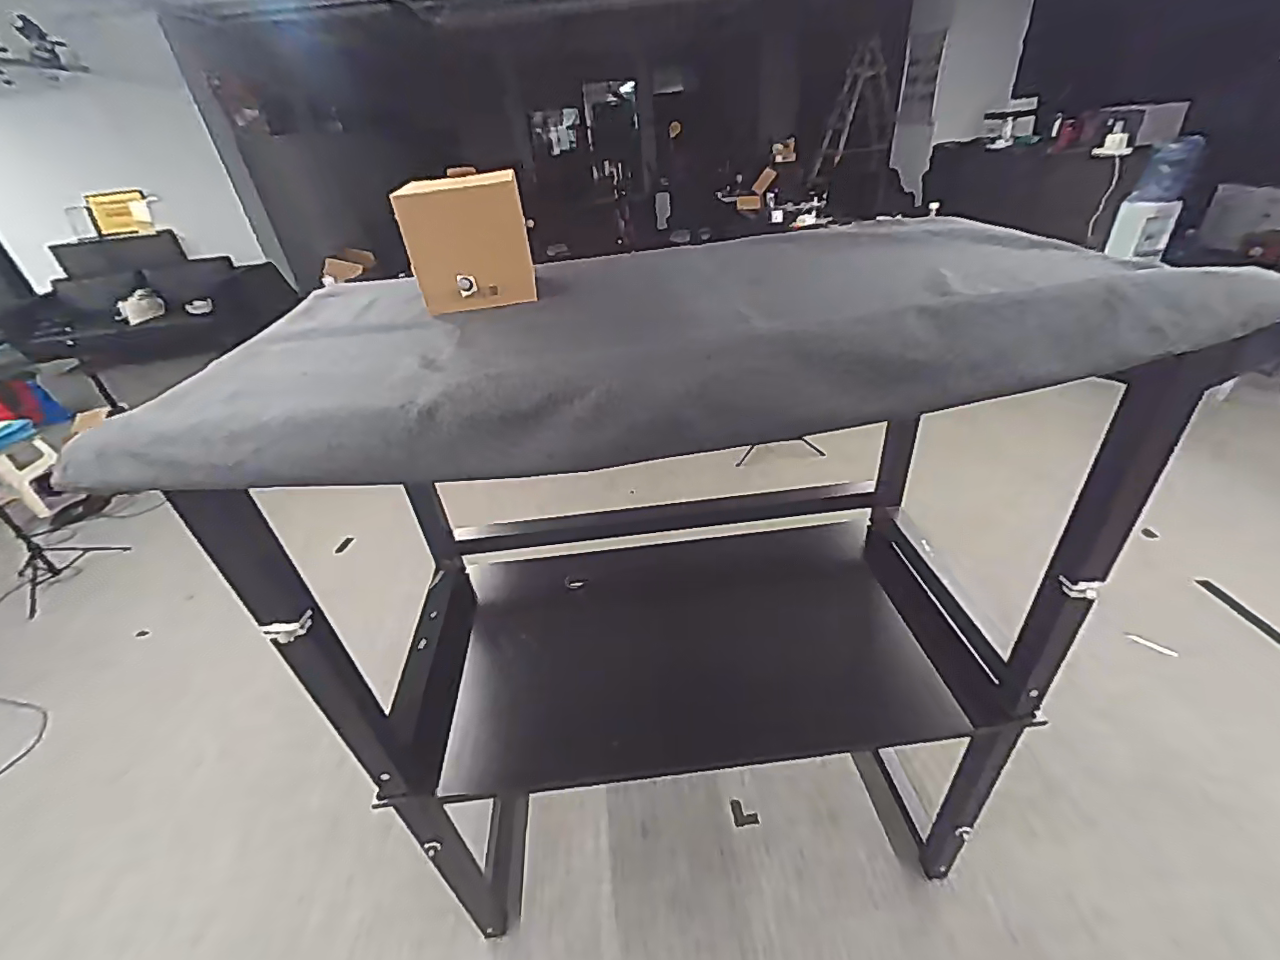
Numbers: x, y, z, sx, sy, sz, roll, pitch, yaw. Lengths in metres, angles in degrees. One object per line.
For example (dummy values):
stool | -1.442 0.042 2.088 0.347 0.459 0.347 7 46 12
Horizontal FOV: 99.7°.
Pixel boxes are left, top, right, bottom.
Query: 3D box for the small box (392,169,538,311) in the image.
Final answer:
small box | -0.256 -0.372 0.835 0.168 0.176 0.179 -11 34 -5
